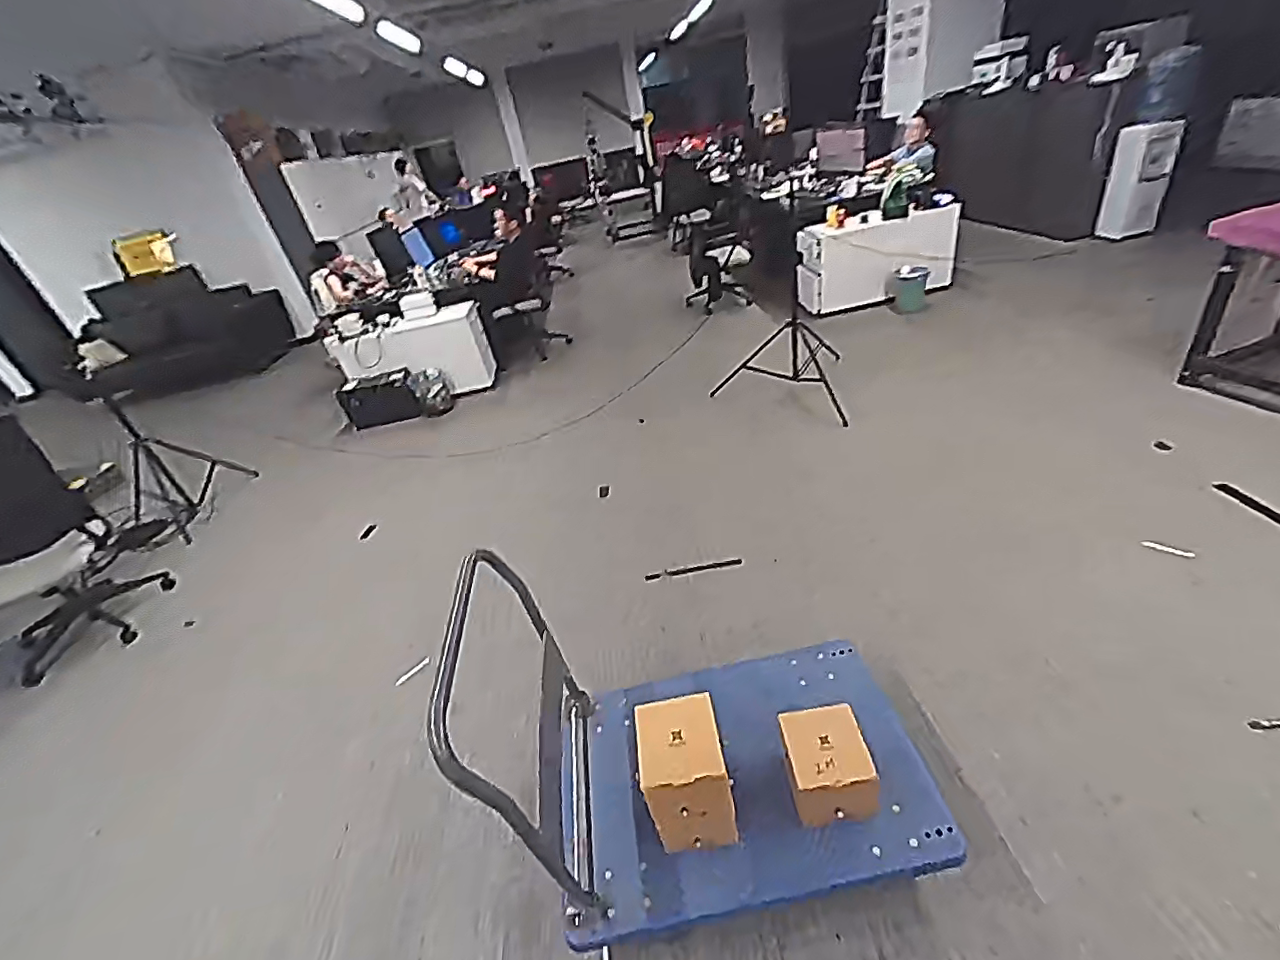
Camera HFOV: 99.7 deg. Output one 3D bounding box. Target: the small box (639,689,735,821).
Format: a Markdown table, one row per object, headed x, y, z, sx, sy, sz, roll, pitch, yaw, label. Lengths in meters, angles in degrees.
| x | y | z | sx | sy | sz | roll | pitch | yaw | label |
| --- | --- | --- | --- | --- | --- | --- | --- | --- | --- |
| 0.096 | 0.575 | 1.133 | 0.168 | 0.176 | 0.179 | -12 | 35 | 2 | small box |

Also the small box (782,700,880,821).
| x | y | z | sx | sy | sz | roll | pitch | yaw | label |
| --- | --- | --- | --- | --- | --- | --- | --- | --- | --- |
| 0.426 | 0.635 | 1.226 | 0.168 | 0.176 | 0.179 | -11 | 33 | 4 | small box |
